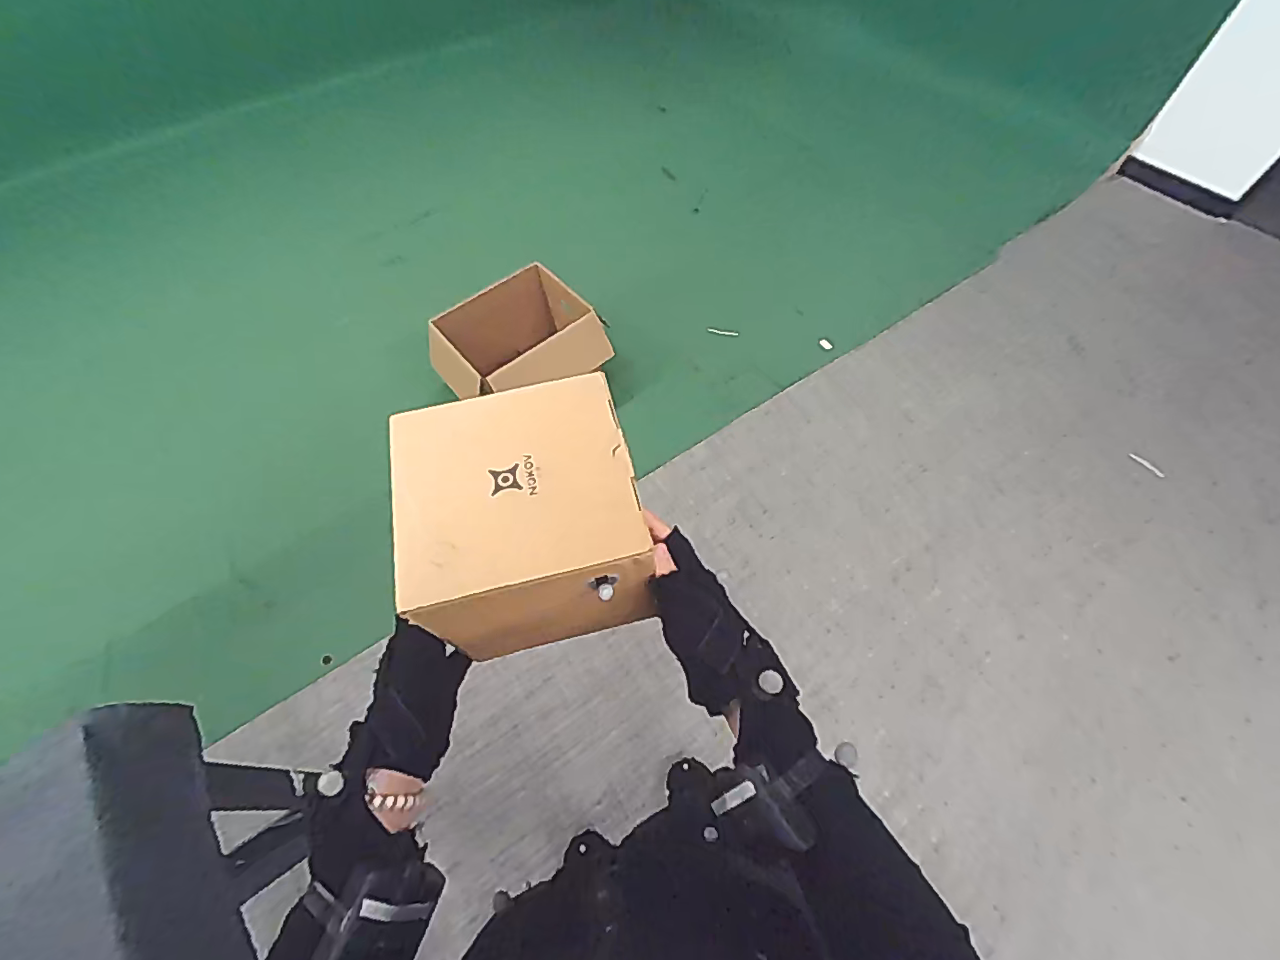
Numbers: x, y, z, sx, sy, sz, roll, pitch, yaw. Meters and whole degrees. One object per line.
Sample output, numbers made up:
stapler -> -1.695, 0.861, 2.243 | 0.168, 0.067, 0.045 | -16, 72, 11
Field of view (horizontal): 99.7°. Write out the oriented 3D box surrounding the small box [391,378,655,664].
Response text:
small box -> -0.090, 0.044, 0.466 | 0.179, 0.176, 0.168 | -14, 60, -6
